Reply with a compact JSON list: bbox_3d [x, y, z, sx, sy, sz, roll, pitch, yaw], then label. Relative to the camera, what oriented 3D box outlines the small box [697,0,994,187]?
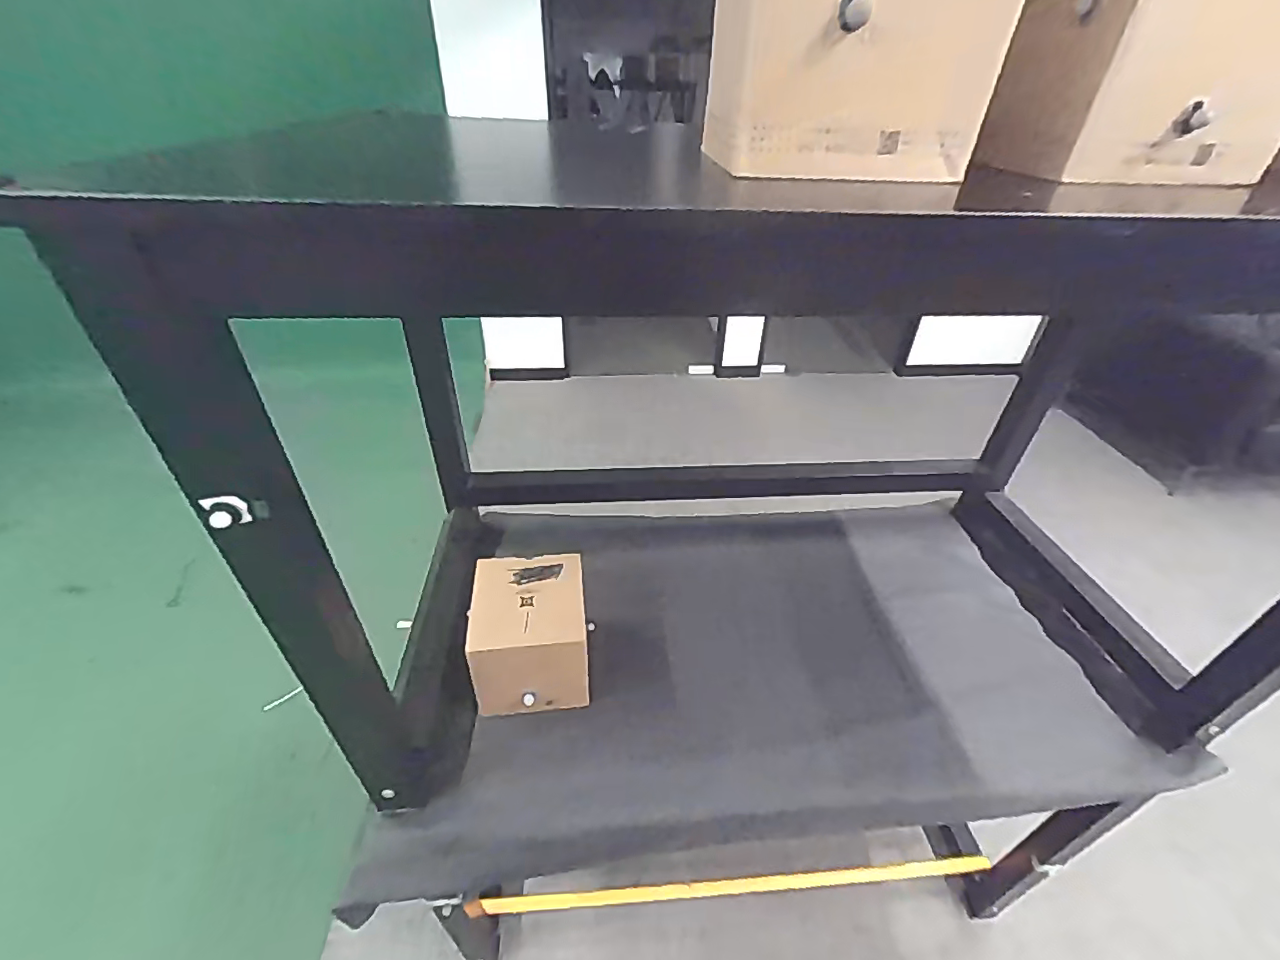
[{"bbox_3d":[0.138,-0.323,0.403,0.168,0.176,0.179,0,36,-2],"label":"small box"}]

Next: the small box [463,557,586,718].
[{"bbox_3d":[-0.172,0.244,0.849,0.168,0.176,0.179,-3,37,-7],"label":"small box"}]
